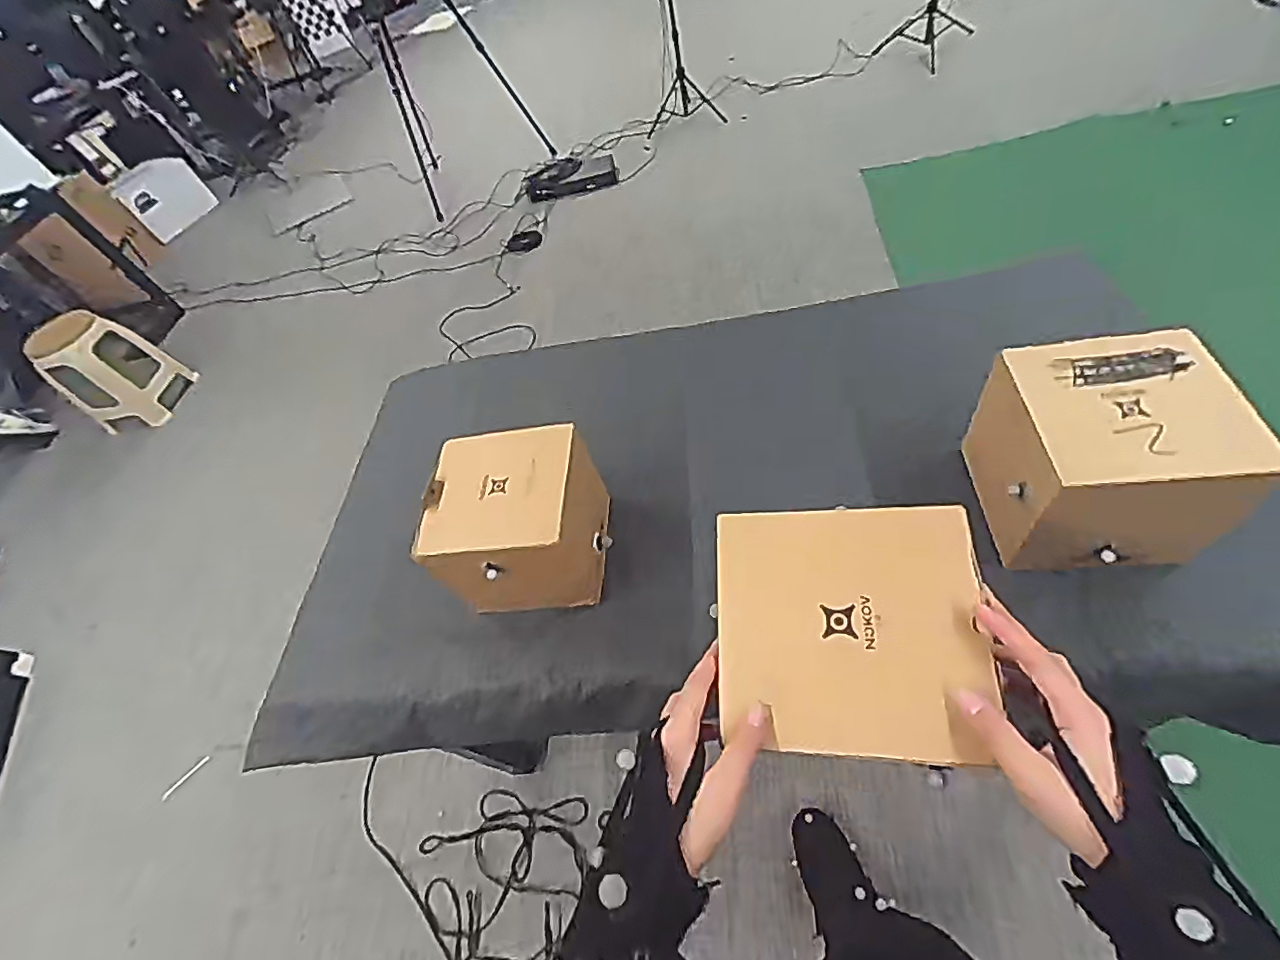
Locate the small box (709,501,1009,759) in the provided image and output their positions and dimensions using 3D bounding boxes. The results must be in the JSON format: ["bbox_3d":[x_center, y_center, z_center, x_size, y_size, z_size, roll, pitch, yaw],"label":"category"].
[{"bbox_3d":[0.154,0.126,0.434,0.179,0.176,0.168,-2,64,13],"label":"small box"}]

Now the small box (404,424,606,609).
[{"bbox_3d":[-0.152,0.054,0.676,0.179,0.176,0.168,-5,54,10],"label":"small box"}]
